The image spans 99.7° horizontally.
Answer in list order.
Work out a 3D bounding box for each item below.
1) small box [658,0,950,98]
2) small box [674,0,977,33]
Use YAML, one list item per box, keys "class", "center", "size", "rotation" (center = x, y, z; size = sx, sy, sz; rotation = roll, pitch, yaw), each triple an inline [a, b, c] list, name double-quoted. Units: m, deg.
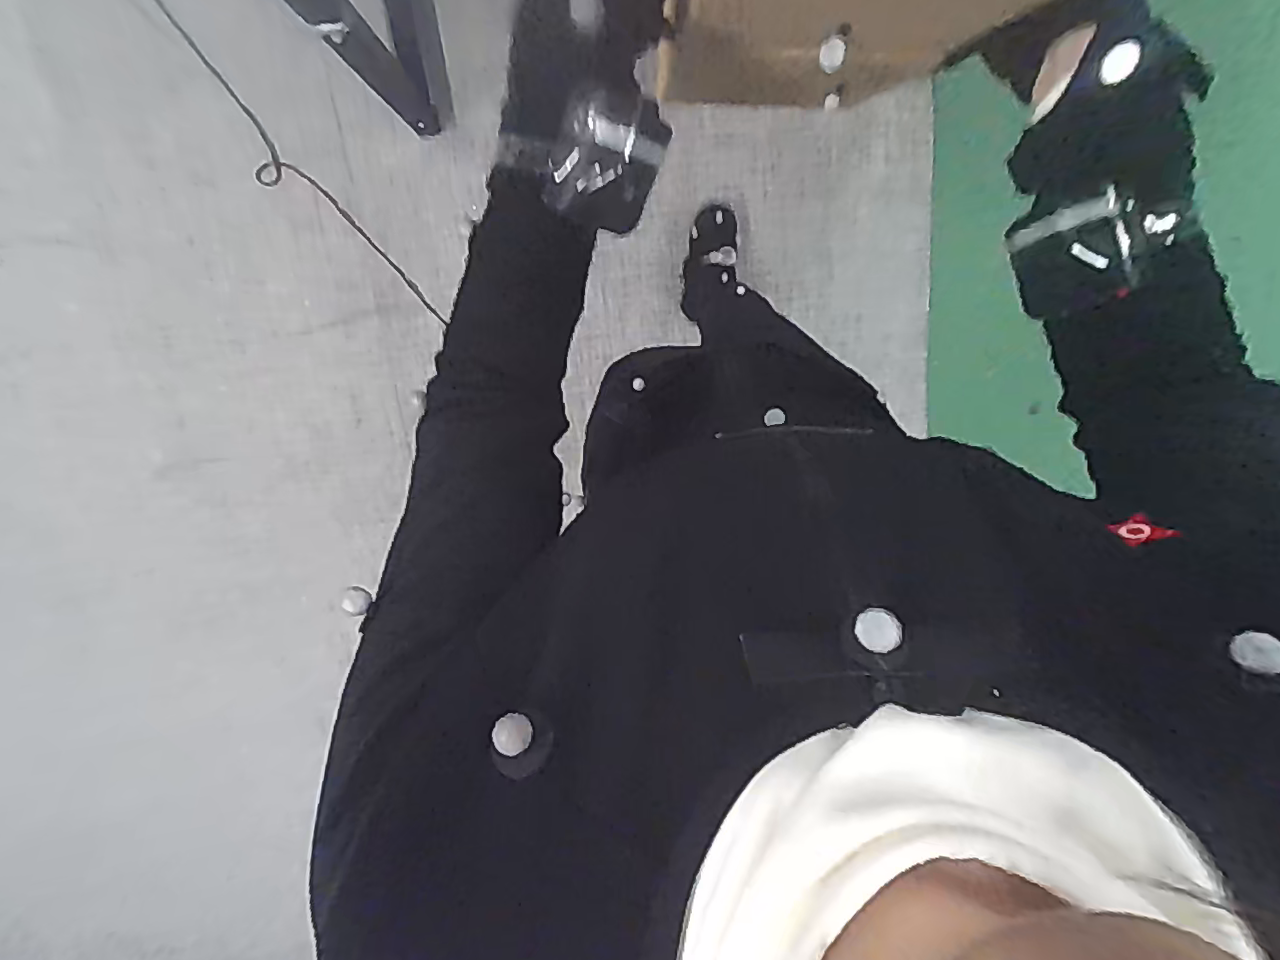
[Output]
- class: "small box"
  center: [0.107, -0.387, 0.381]
  size: [0.179, 0.176, 0.168]
  rotation: [-1, 114, -1]
- class: "small box"
  center: [0.111, -0.321, 0.230]
  size: [0.179, 0.176, 0.168]
  rotation: [-1, 114, -3]
